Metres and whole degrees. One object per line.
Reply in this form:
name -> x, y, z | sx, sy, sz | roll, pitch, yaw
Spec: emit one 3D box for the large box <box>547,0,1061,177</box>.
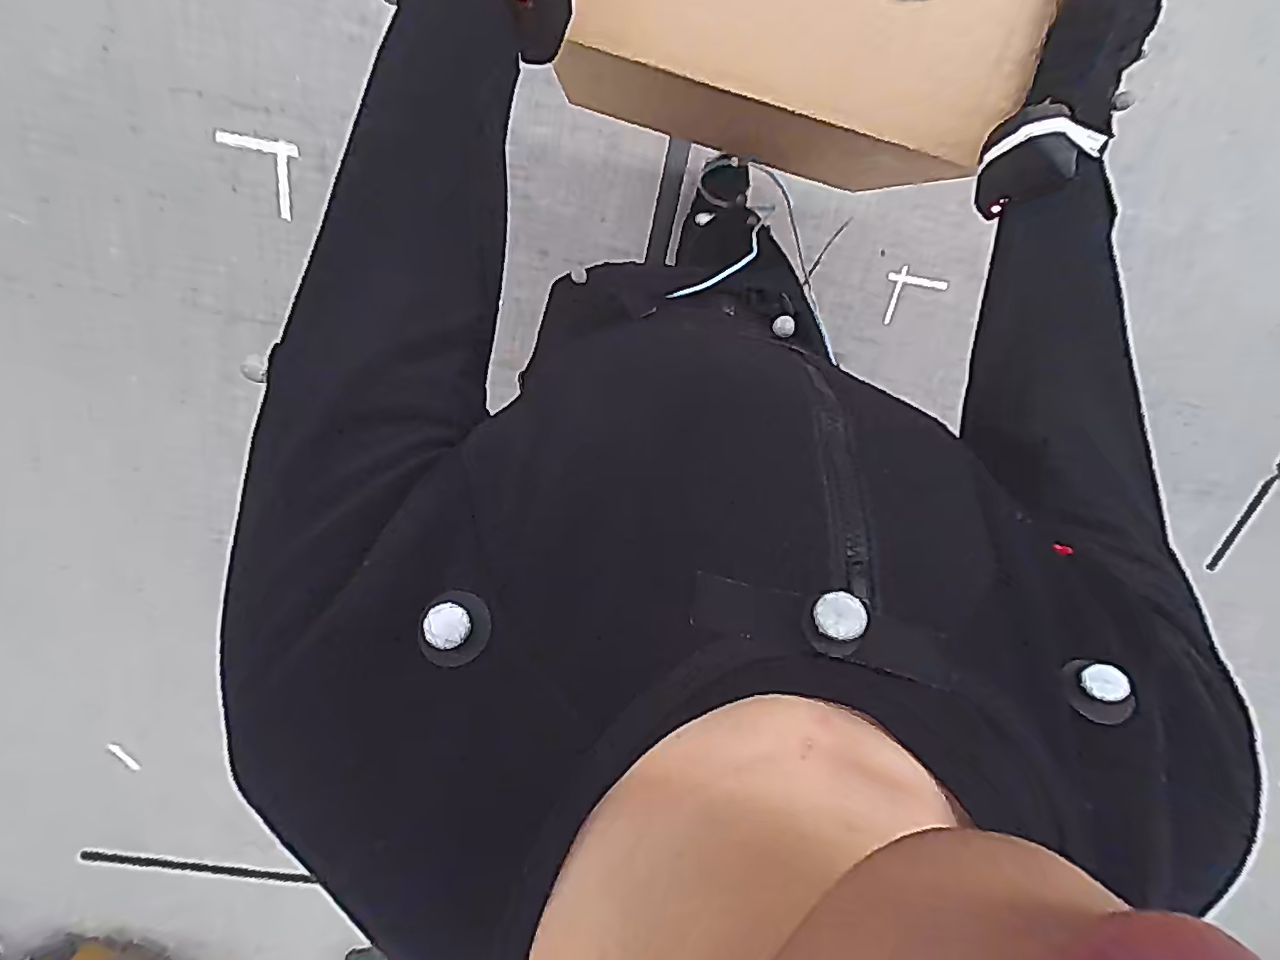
large box -> 0.147, -0.523, 0.519 | 0.408, 0.320, 0.320 | 13, 116, -8
